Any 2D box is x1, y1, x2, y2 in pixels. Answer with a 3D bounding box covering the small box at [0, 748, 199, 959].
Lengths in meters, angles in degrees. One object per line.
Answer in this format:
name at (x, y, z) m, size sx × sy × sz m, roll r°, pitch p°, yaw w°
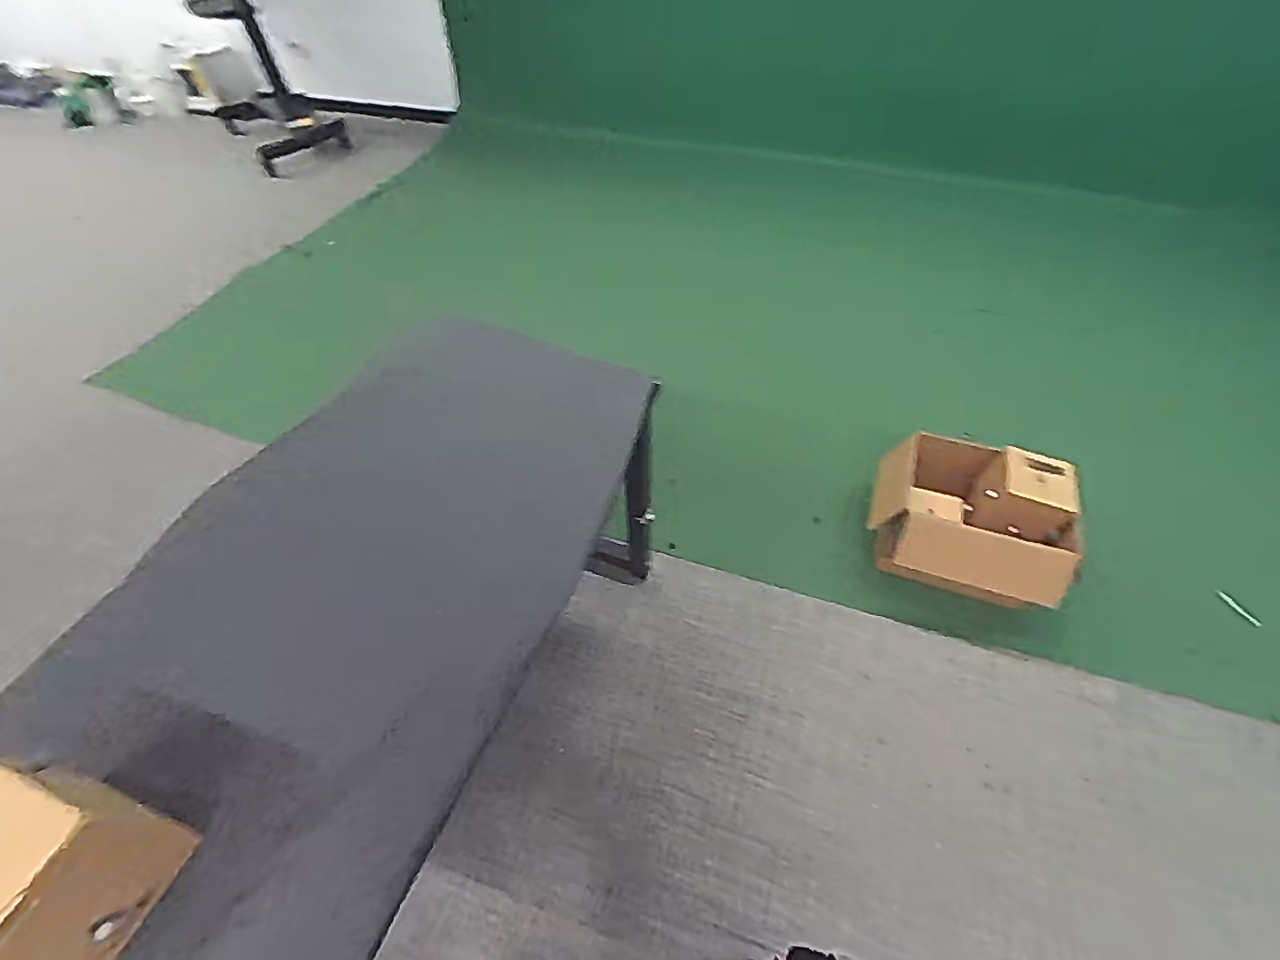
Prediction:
small box at (-0.607, 0.392, 0.530) m, size 0.179 × 0.176 × 0.168 m, roll 15°, pitch 53°, yaw 13°
